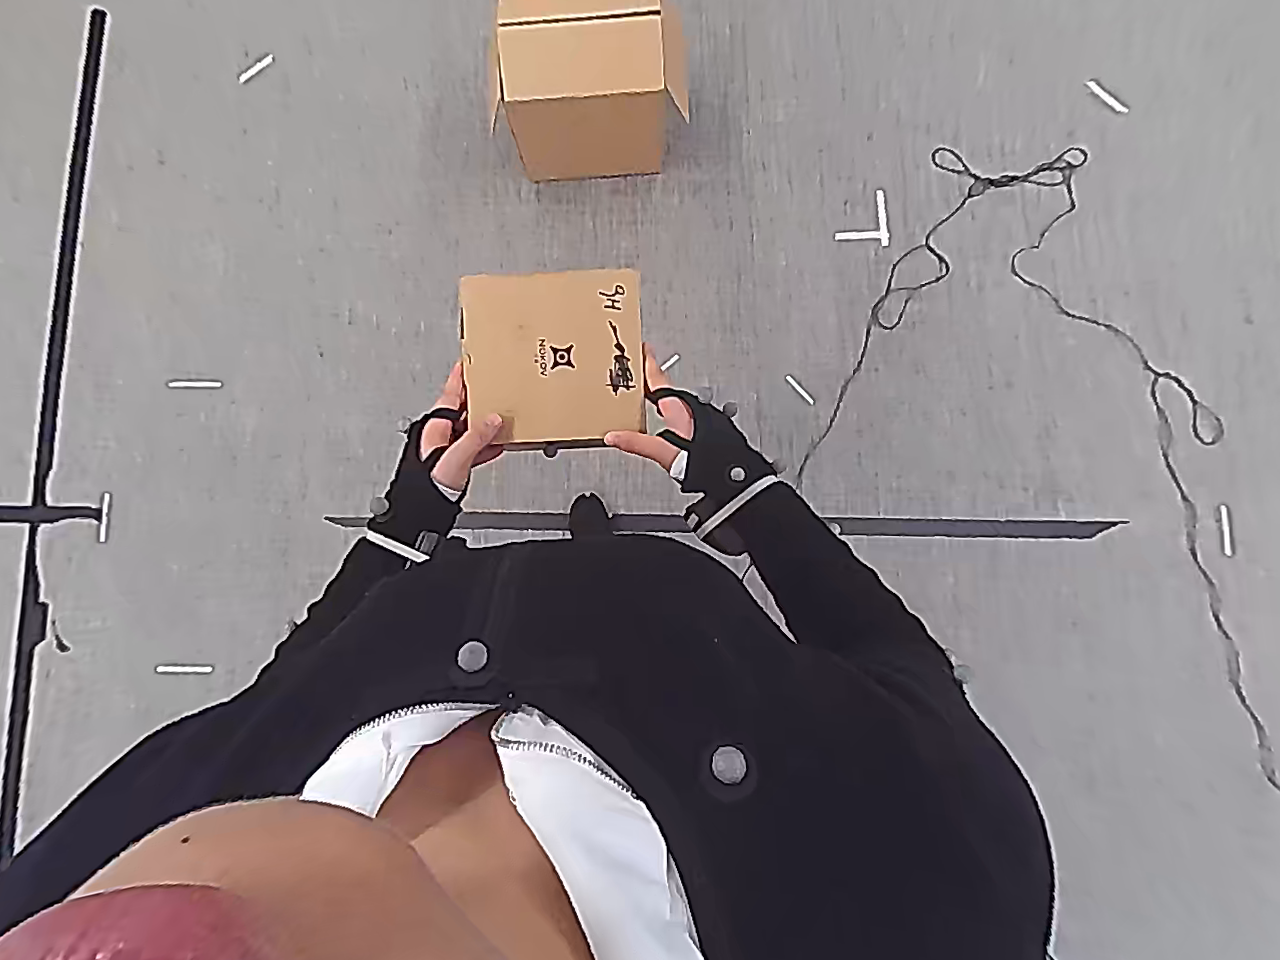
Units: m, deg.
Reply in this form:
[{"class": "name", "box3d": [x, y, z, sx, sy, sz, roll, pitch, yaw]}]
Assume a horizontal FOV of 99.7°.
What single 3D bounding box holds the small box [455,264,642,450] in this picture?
[{"class": "small box", "box3d": [-0.088, -0.121, 0.593, 0.179, 0.176, 0.168, -3, 90, -2]}]
